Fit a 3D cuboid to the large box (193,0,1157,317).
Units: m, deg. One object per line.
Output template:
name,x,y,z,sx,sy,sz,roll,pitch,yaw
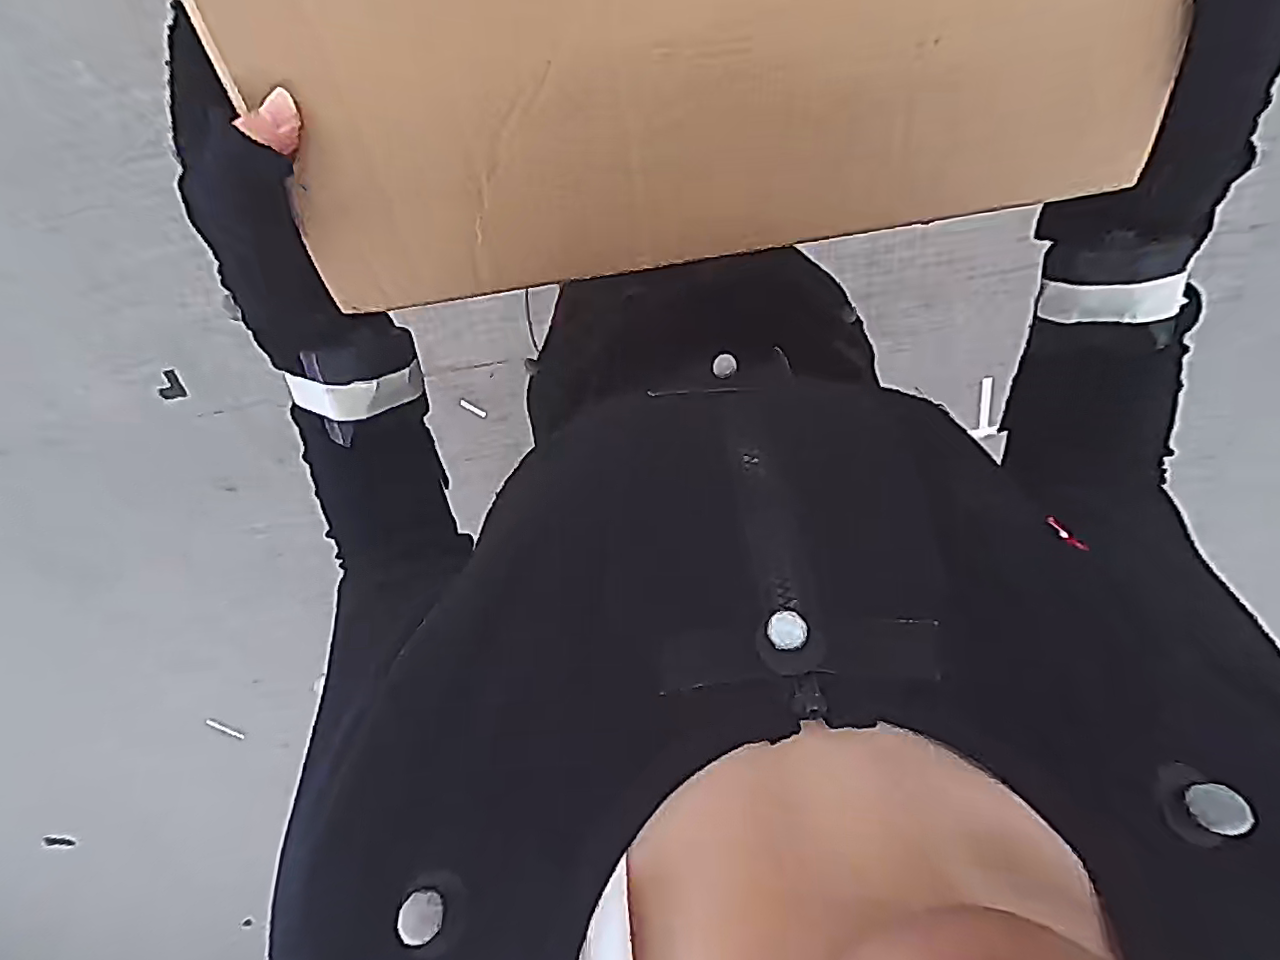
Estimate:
large box,0.009,-0.330,0.312,0.408,0.320,0.320,-8,126,5
